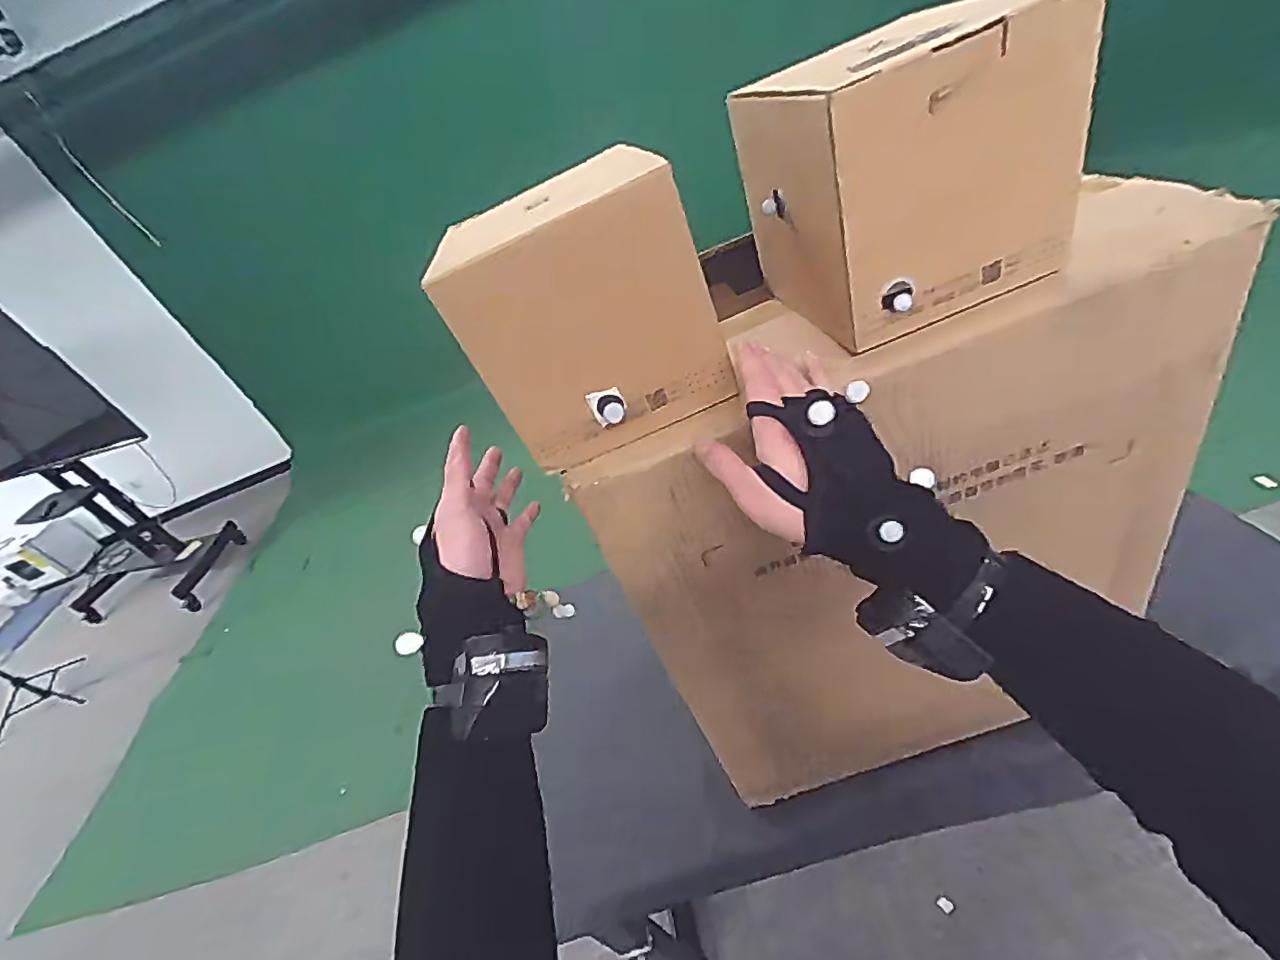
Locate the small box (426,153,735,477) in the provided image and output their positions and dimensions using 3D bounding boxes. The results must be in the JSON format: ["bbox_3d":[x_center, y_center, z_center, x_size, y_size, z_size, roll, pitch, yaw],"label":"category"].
[{"bbox_3d":[-0.042,-0.134,0.438,0.168,0.176,0.179,-25,37,4],"label":"small box"}]

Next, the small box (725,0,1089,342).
[{"bbox_3d":[0.185,-0.227,0.411,0.168,0.176,0.179,-23,36,3],"label":"small box"}]
